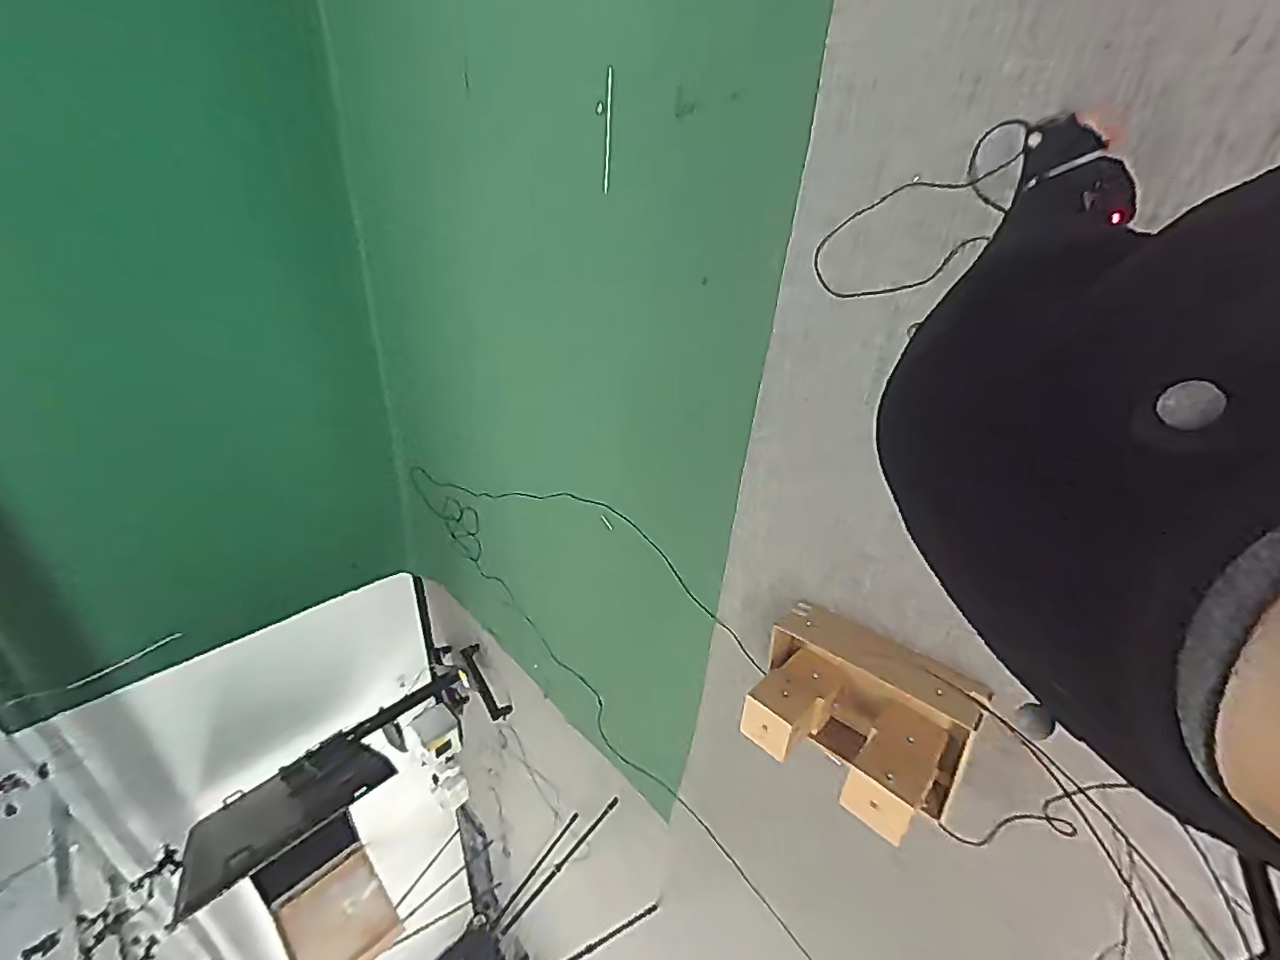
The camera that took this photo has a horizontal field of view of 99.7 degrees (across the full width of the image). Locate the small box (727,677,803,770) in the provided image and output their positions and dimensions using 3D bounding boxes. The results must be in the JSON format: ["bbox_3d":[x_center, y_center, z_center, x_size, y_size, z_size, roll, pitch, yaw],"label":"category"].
[{"bbox_3d":[0.405,0.774,1.741,0.168,0.176,0.179,27,124,38],"label":"small box"}]

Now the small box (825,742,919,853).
[{"bbox_3d":[0.658,0.886,1.526,0.179,0.176,0.168,27,122,38],"label":"small box"}]

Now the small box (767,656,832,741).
[{"bbox_3d":[0.530,0.736,1.843,0.179,0.176,0.168,26,123,36],"label":"small box"}]
